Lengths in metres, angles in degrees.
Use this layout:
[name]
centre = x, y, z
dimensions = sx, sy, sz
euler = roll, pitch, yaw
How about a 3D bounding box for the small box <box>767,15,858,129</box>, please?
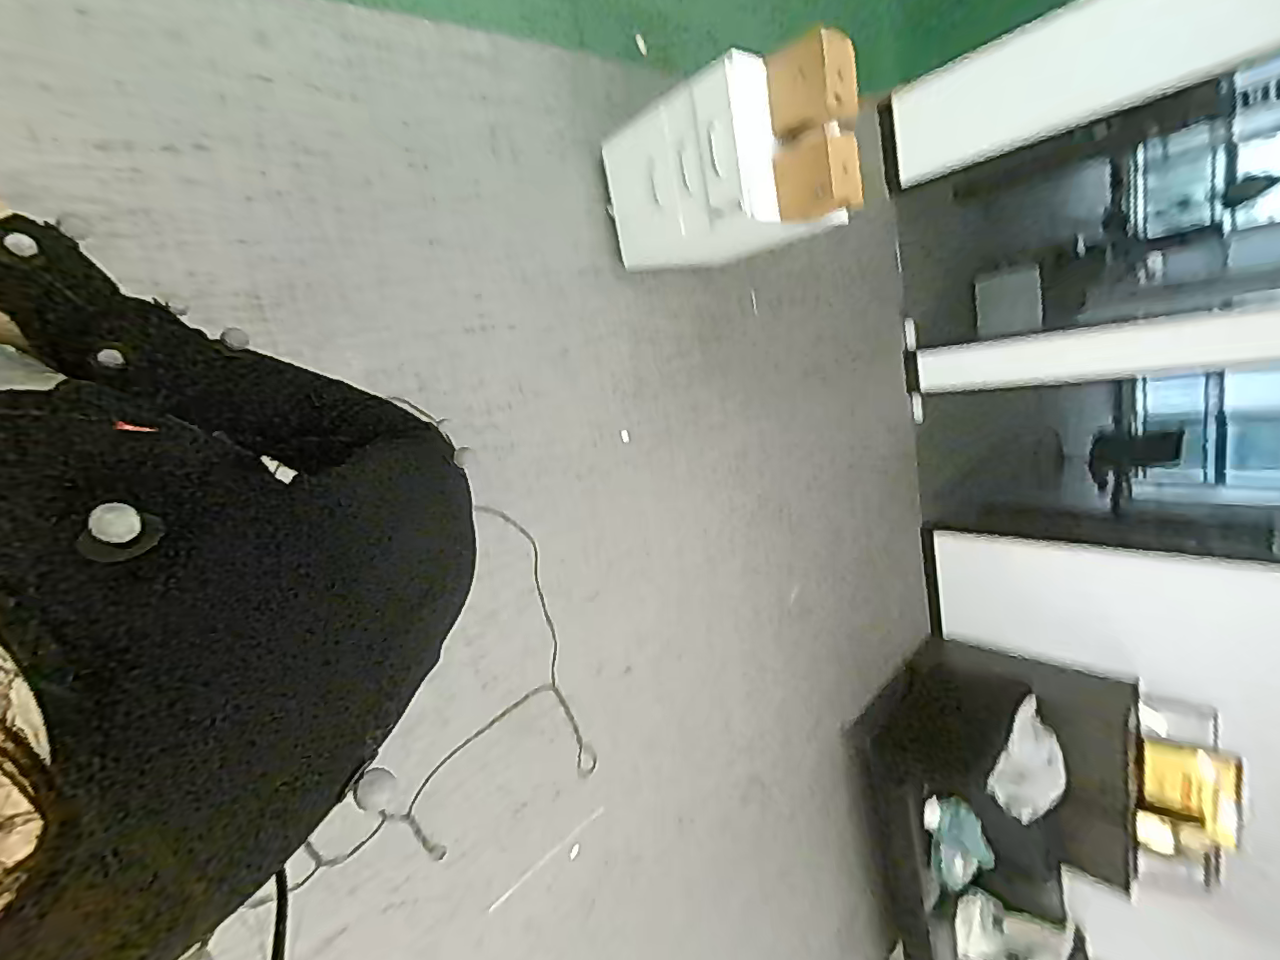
[small box]
centre = 0.455, -1.073, 1.436
dimensions = 0.168, 0.176, 0.179
euler = -22, 108, -38
